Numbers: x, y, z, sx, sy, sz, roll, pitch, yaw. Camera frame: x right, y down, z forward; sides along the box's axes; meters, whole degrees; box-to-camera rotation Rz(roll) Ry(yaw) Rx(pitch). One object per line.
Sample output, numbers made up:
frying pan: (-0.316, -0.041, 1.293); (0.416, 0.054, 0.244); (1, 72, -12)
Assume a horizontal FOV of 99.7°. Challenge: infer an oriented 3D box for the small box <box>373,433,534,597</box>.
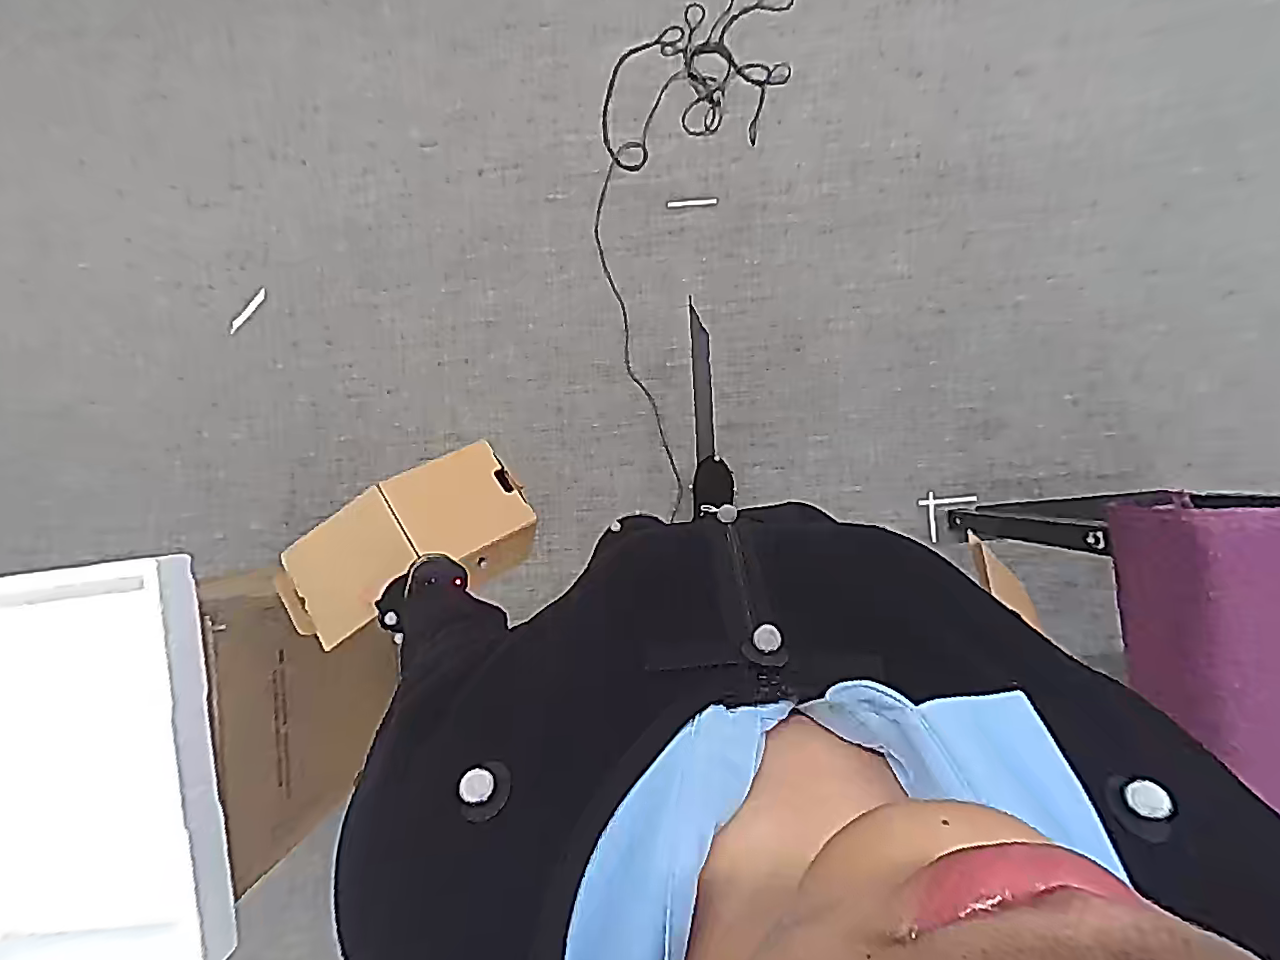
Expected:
small box: (-0.288, 0.061, 0.854); (0.179, 0.176, 0.168); (-28, 74, -28)
